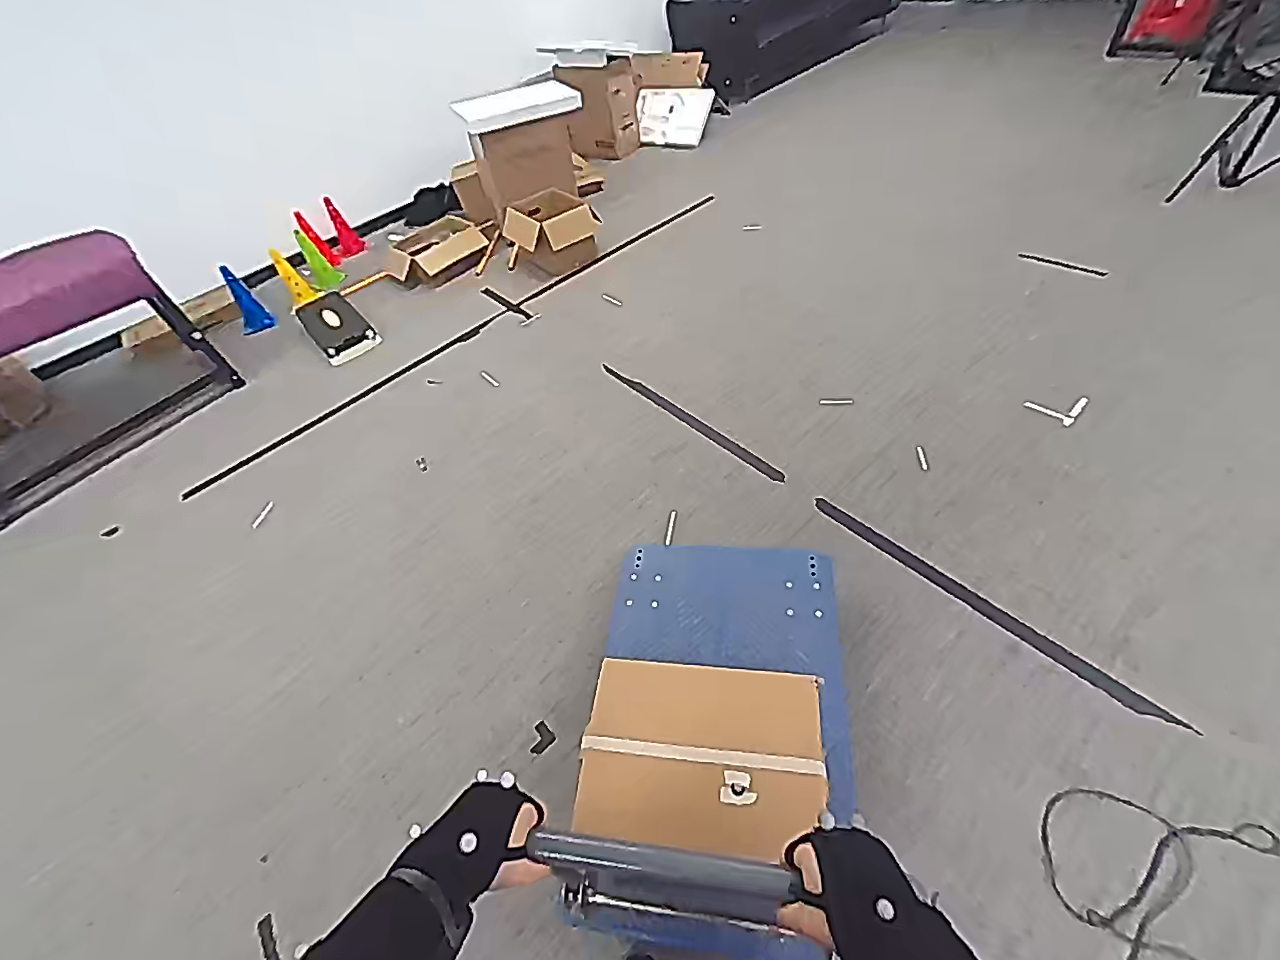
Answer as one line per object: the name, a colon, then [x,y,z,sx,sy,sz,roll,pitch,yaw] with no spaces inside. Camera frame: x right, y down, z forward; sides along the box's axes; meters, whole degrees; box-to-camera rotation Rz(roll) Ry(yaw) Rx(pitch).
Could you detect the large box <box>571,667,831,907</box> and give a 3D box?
large box: [0.121,0.578,1.026,0.408,0.320,0.320,1,50,11]
